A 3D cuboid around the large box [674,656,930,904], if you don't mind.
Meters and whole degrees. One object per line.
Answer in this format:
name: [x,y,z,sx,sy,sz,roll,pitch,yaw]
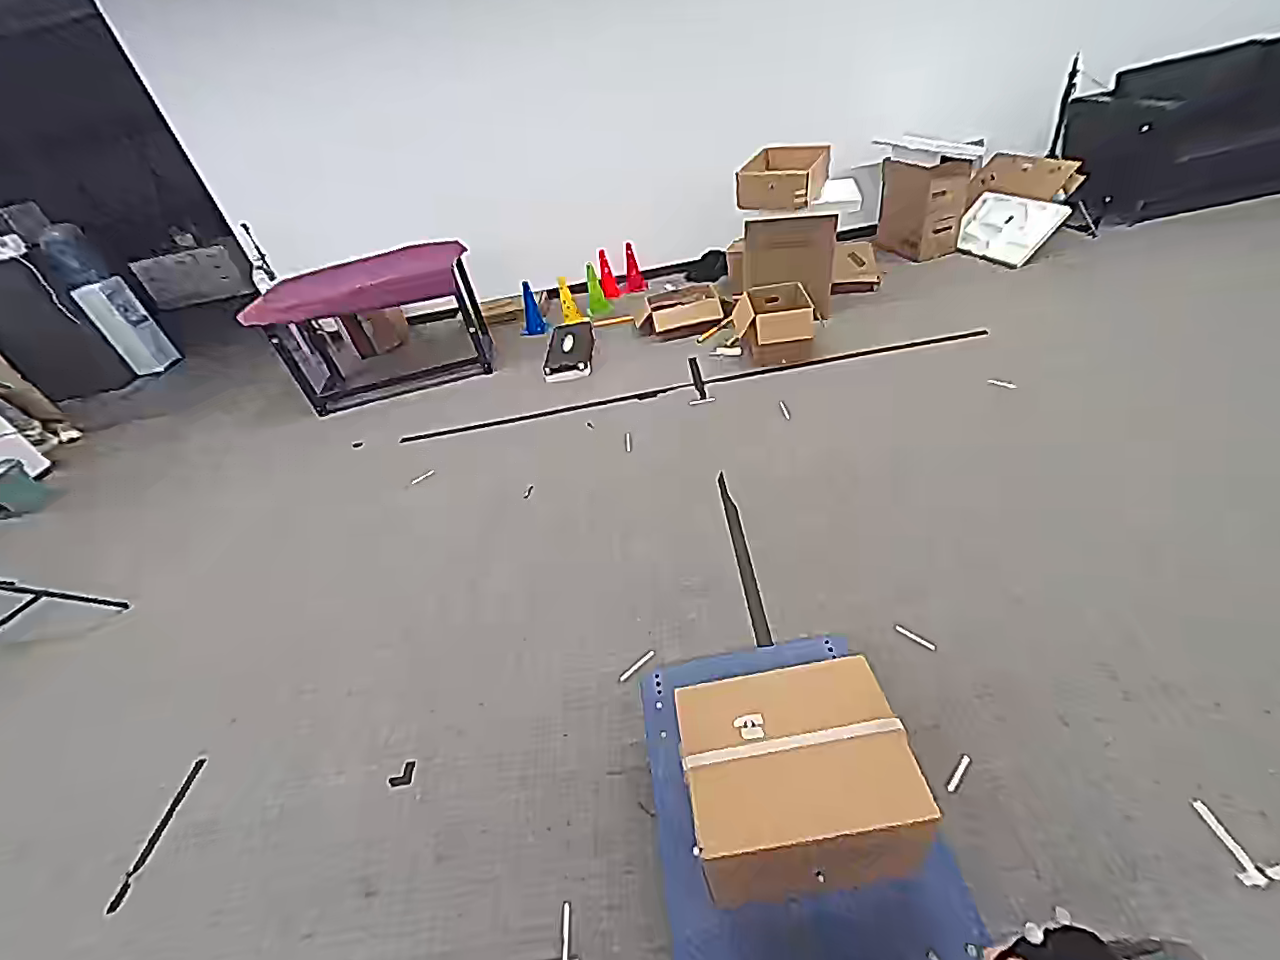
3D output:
large box: [0.312,0.620,1.122,0.408,0.320,0.320,-13,37,2]
